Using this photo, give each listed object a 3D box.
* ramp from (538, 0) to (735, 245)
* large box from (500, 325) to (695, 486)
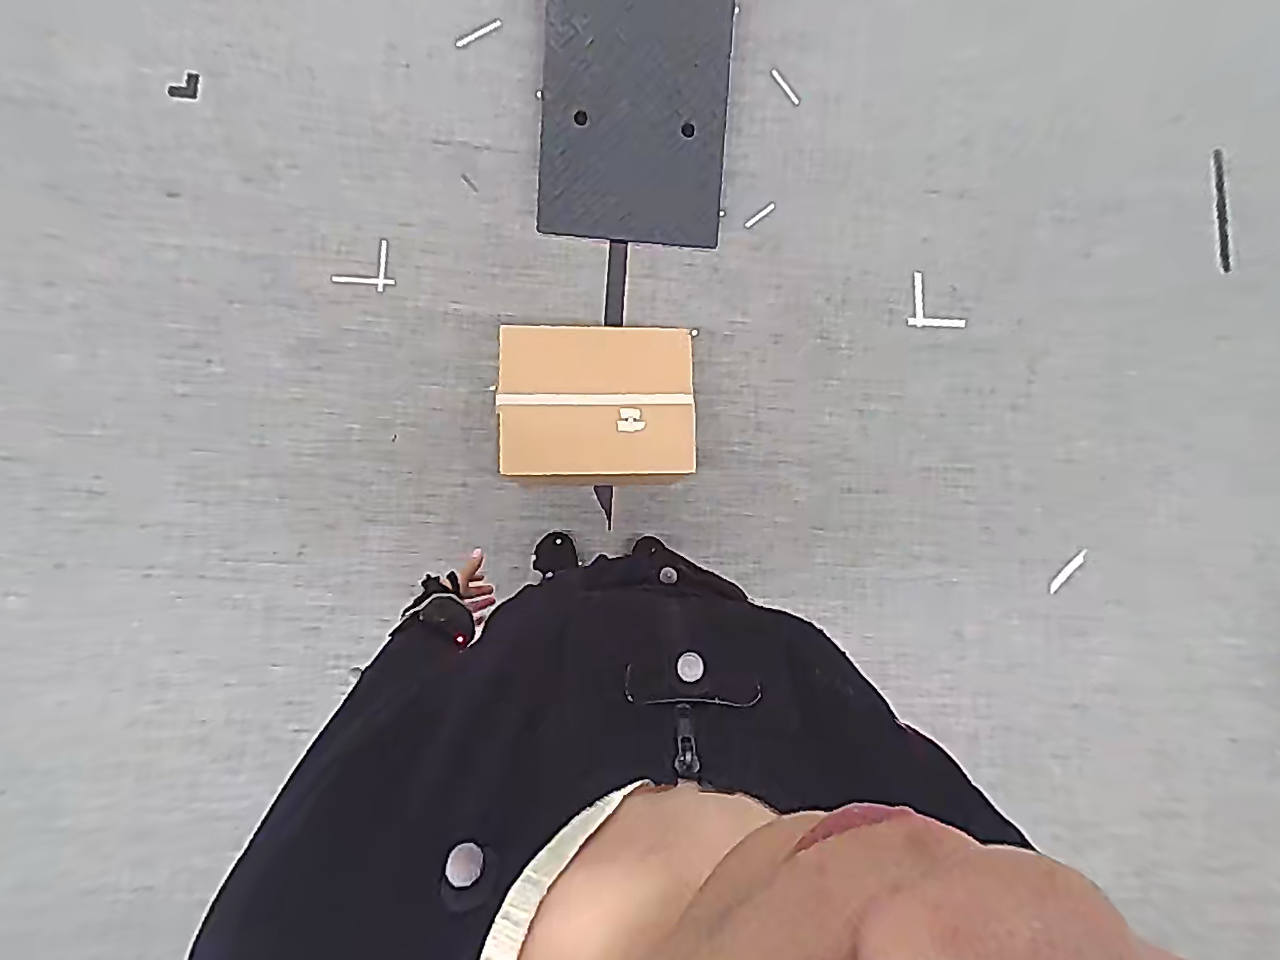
[{"bbox_3d":[0.002,-1.150,1.414,0.509,0.206,0.991,2,86,-7],"label":"ramp"},{"bbox_3d":[-0.104,-0.156,1.268,0.408,0.320,0.320,-1,86,-7],"label":"large box"}]
